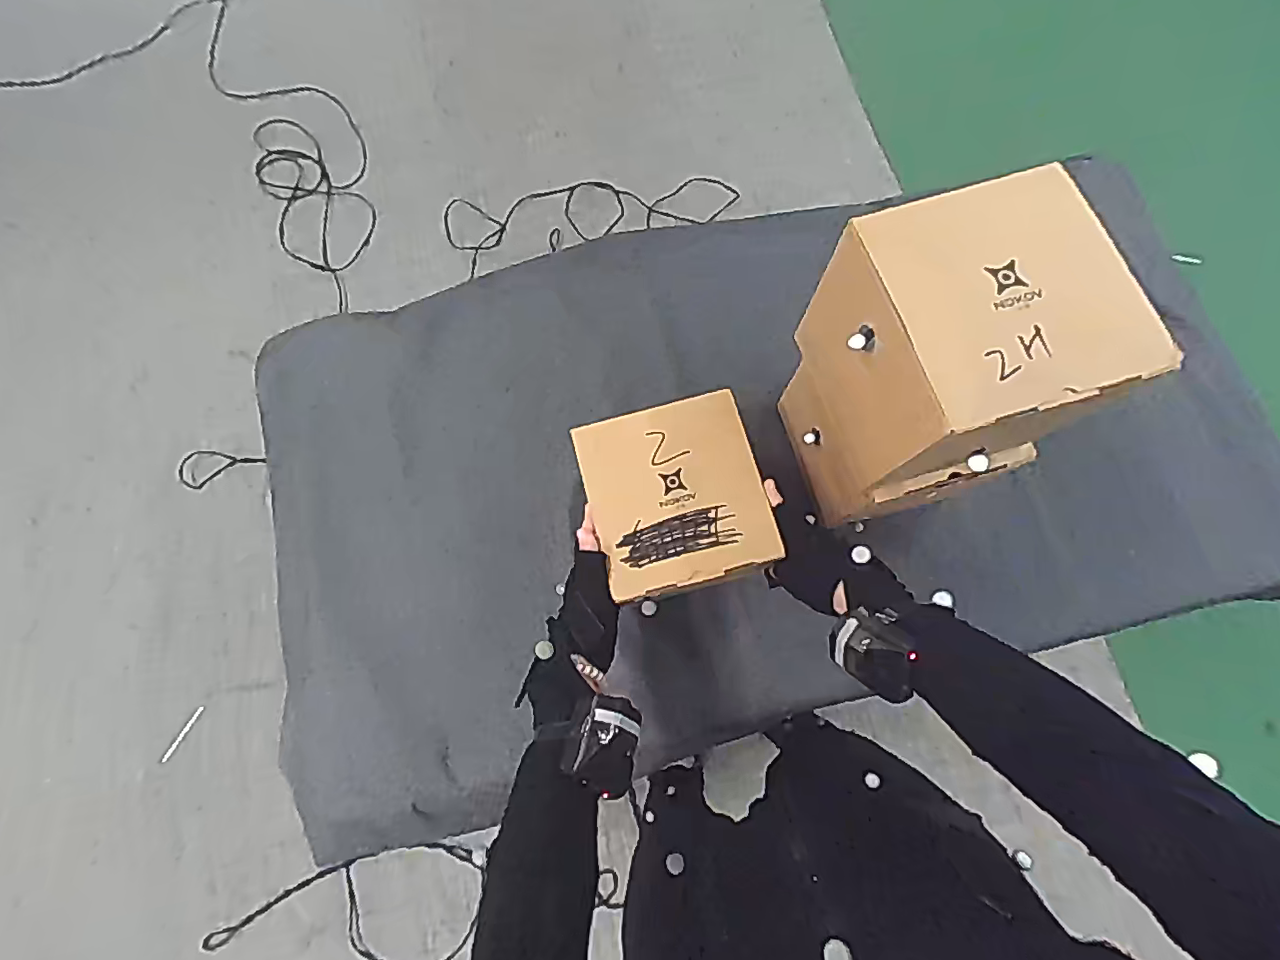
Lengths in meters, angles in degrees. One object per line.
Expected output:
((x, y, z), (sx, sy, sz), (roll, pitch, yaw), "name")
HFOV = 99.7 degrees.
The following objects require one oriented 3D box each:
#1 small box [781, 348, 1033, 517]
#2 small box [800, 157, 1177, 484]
((0.274, -0.064, 0.602), (0.168, 0.176, 0.179), (-15, 75, -2), "small box")
((0.252, -0.115, 0.447), (0.168, 0.176, 0.179), (-17, 76, -2), "small box")
